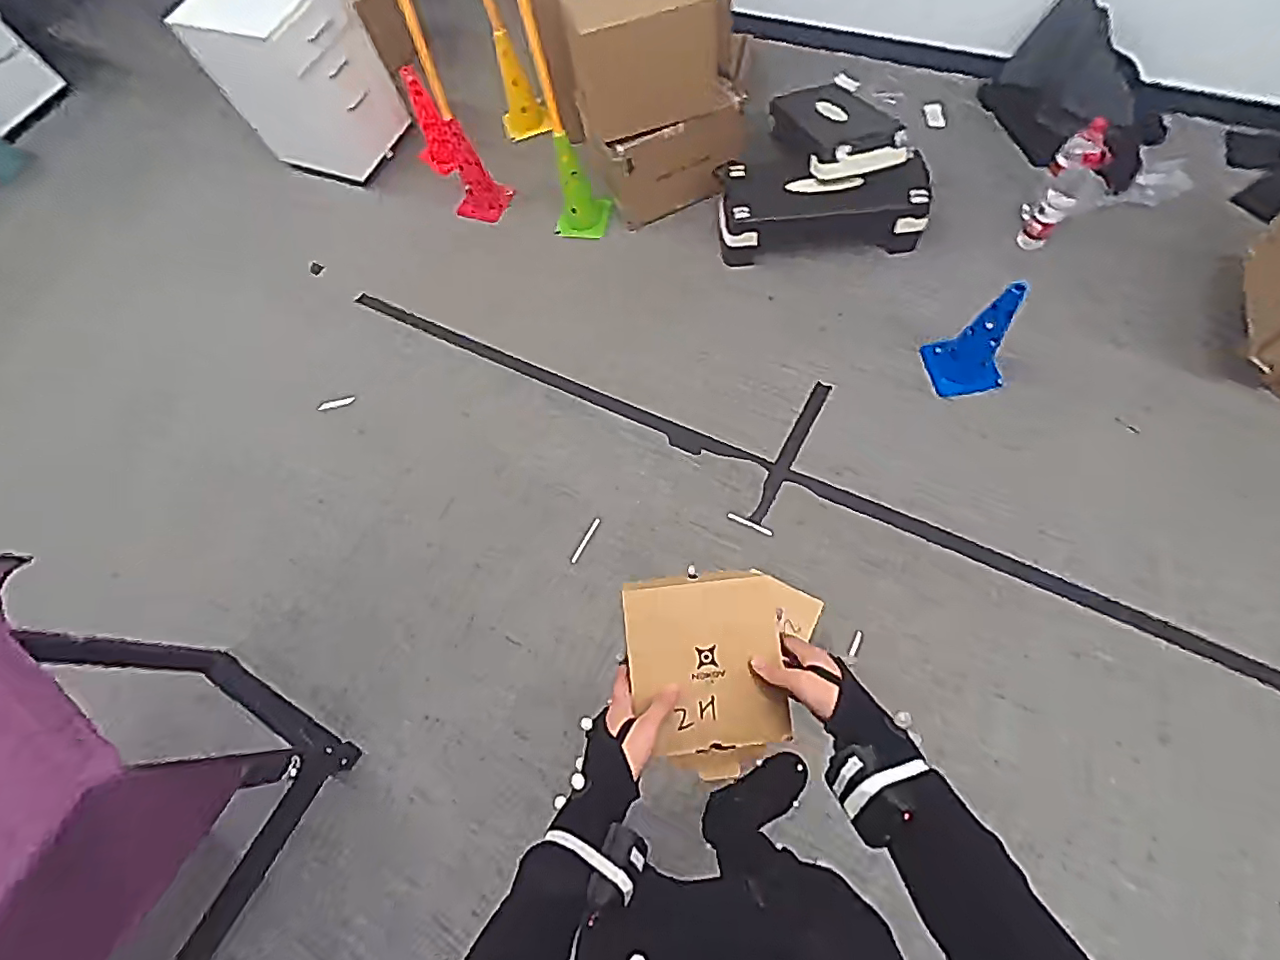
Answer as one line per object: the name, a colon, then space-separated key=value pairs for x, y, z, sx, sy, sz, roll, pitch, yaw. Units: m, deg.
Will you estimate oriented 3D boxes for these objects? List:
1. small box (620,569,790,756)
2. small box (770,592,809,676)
small box: x=0.064 y=0.203 z=0.649 sx=0.168 sy=0.176 sz=0.179 roll=-6 pitch=82 yaw=-2
small box: x=0.319 y=0.391 z=1.393 sx=0.168 sy=0.176 sz=0.179 roll=22 pitch=72 yaw=16
